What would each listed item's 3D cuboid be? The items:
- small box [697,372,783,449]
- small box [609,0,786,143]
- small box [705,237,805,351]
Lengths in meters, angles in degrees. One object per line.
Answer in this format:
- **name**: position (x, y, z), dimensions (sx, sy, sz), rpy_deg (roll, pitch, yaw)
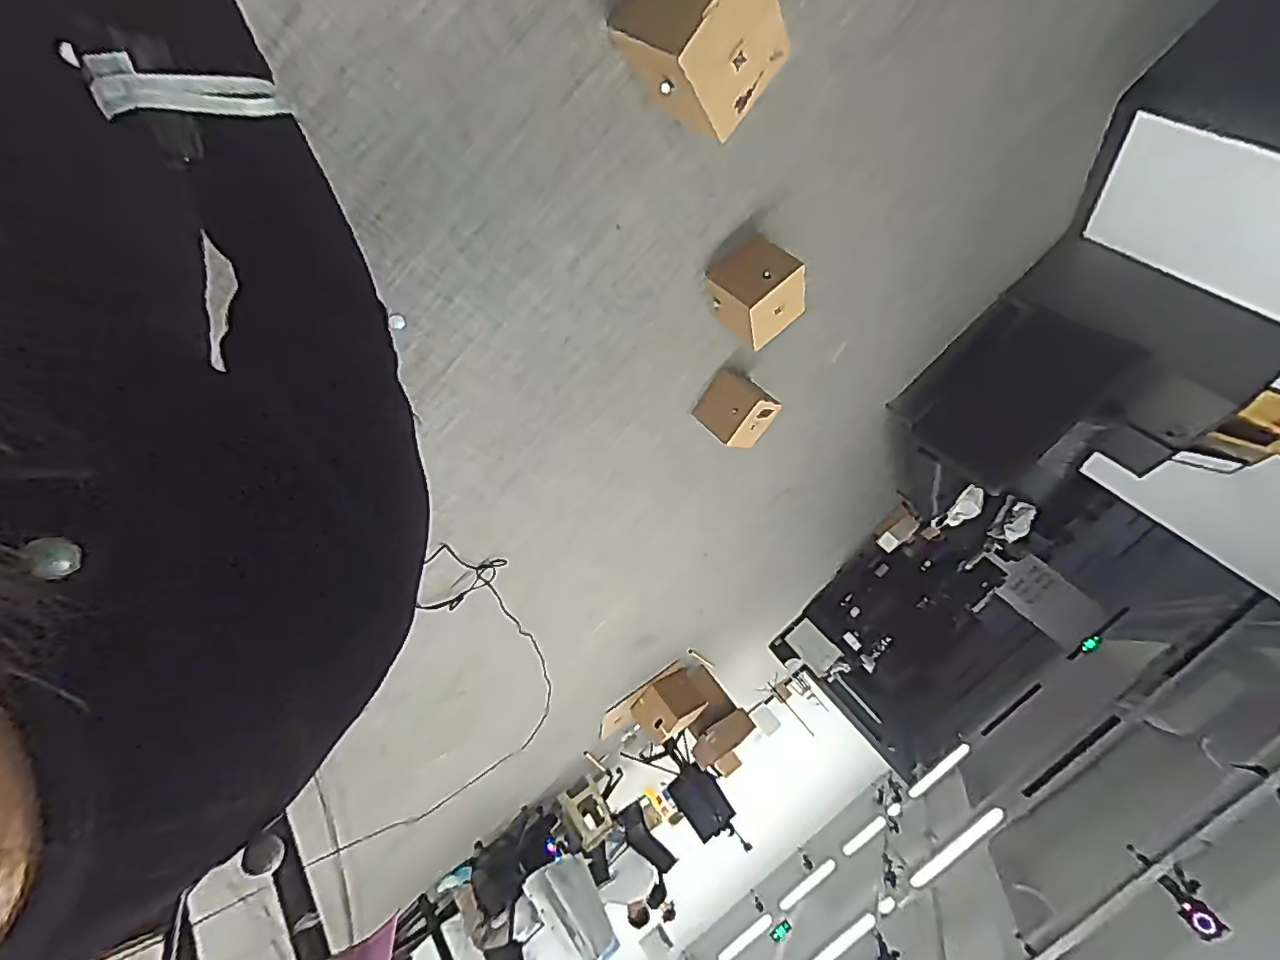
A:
- **small box**: position (0.310, -0.220, 1.706), dimensions (0.168, 0.176, 0.179), rpy_deg (0, 129, -51)
- **small box**: position (0.086, -0.668, 0.824), dimensions (0.168, 0.176, 0.179), rpy_deg (-51, 150, 13)
- **small box**: position (0.288, -0.467, 1.351), dimensions (0.179, 0.176, 0.168), rpy_deg (-41, 151, -5)
